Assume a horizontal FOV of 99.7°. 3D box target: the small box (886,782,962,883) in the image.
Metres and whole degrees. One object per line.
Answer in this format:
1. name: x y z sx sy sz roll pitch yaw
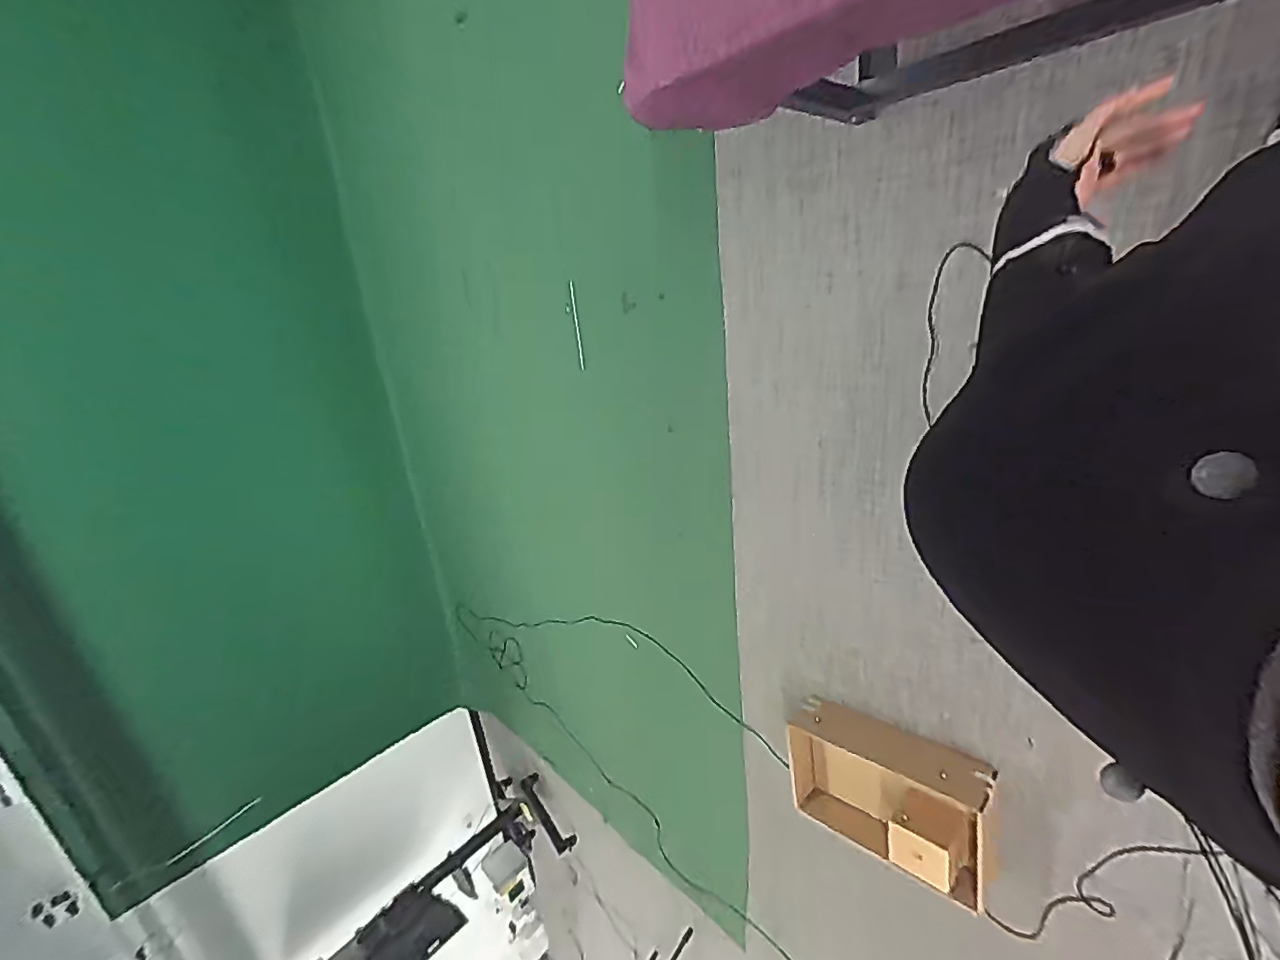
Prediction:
1. small box: 0.903 1.105 1.712 0.179 0.176 0.168 8 112 47
